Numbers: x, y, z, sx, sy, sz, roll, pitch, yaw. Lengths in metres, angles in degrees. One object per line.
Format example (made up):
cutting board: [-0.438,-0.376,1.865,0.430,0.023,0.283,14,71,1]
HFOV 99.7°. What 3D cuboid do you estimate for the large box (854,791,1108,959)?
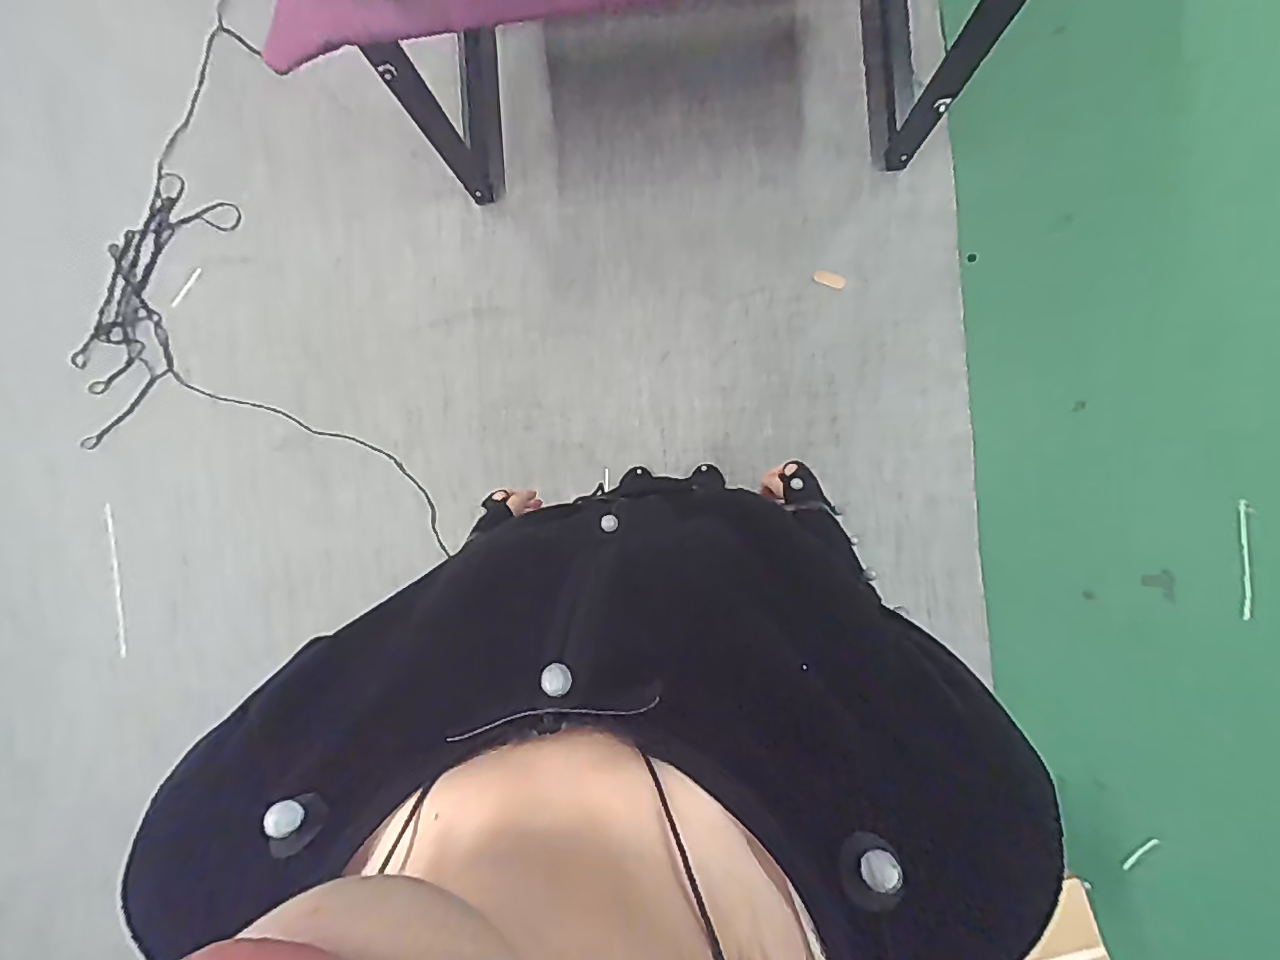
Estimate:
large box: [0.810,1.041,1.322,0.408,0.320,0.320,-18,90,3]
